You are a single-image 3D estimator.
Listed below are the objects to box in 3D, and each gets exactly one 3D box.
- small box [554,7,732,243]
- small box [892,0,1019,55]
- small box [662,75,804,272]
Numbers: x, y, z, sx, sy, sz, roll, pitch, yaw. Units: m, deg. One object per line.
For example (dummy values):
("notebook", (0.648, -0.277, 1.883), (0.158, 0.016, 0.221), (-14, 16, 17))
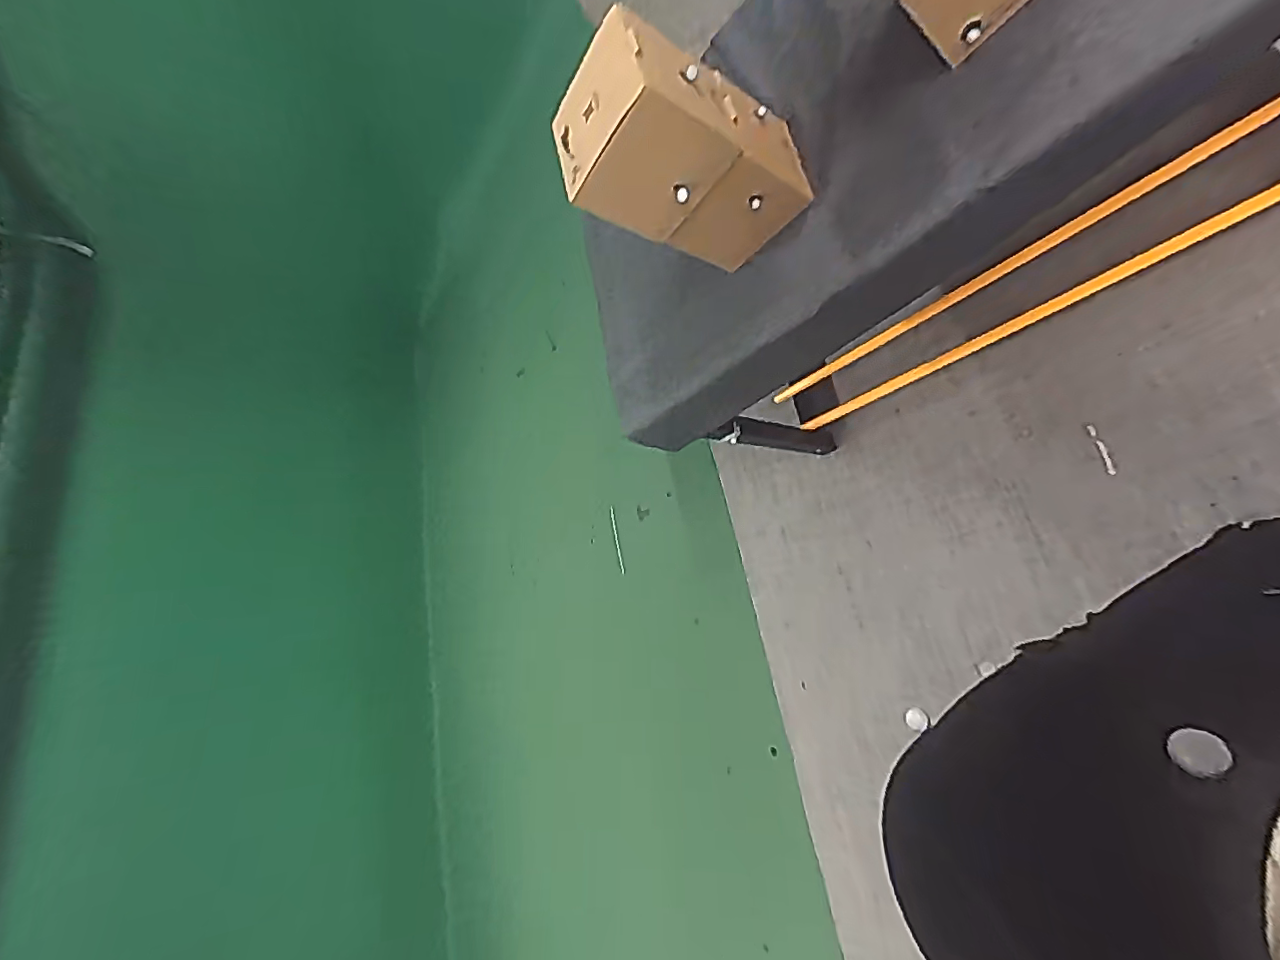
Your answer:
("small box", (0.006, -0.470, 0.744), (0.179, 0.176, 0.168), (-36, 58, 43))
("small box", (0.353, -0.619, 0.588), (0.168, 0.176, 0.179), (-33, 61, 45))
("small box", (0.134, -0.464, 0.848), (0.179, 0.176, 0.168), (-33, 60, 45))
